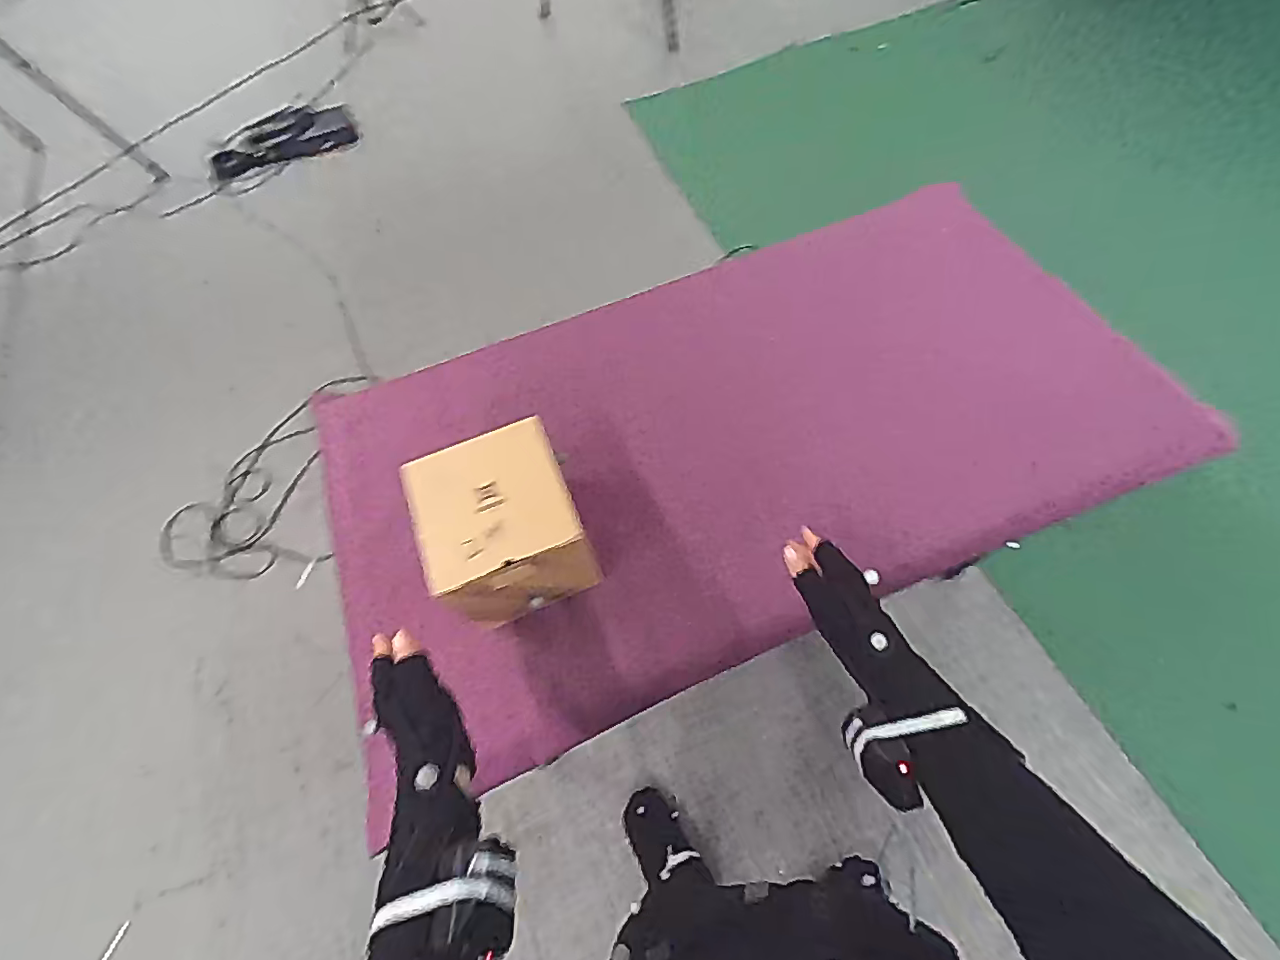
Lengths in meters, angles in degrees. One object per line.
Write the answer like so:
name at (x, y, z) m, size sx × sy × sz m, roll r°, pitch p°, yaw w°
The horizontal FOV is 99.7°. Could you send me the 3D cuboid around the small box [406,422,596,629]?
small box at (-0.167, 0.063, 0.682) m, size 0.168 × 0.176 × 0.179 m, roll -22°, pitch 63°, yaw -6°
